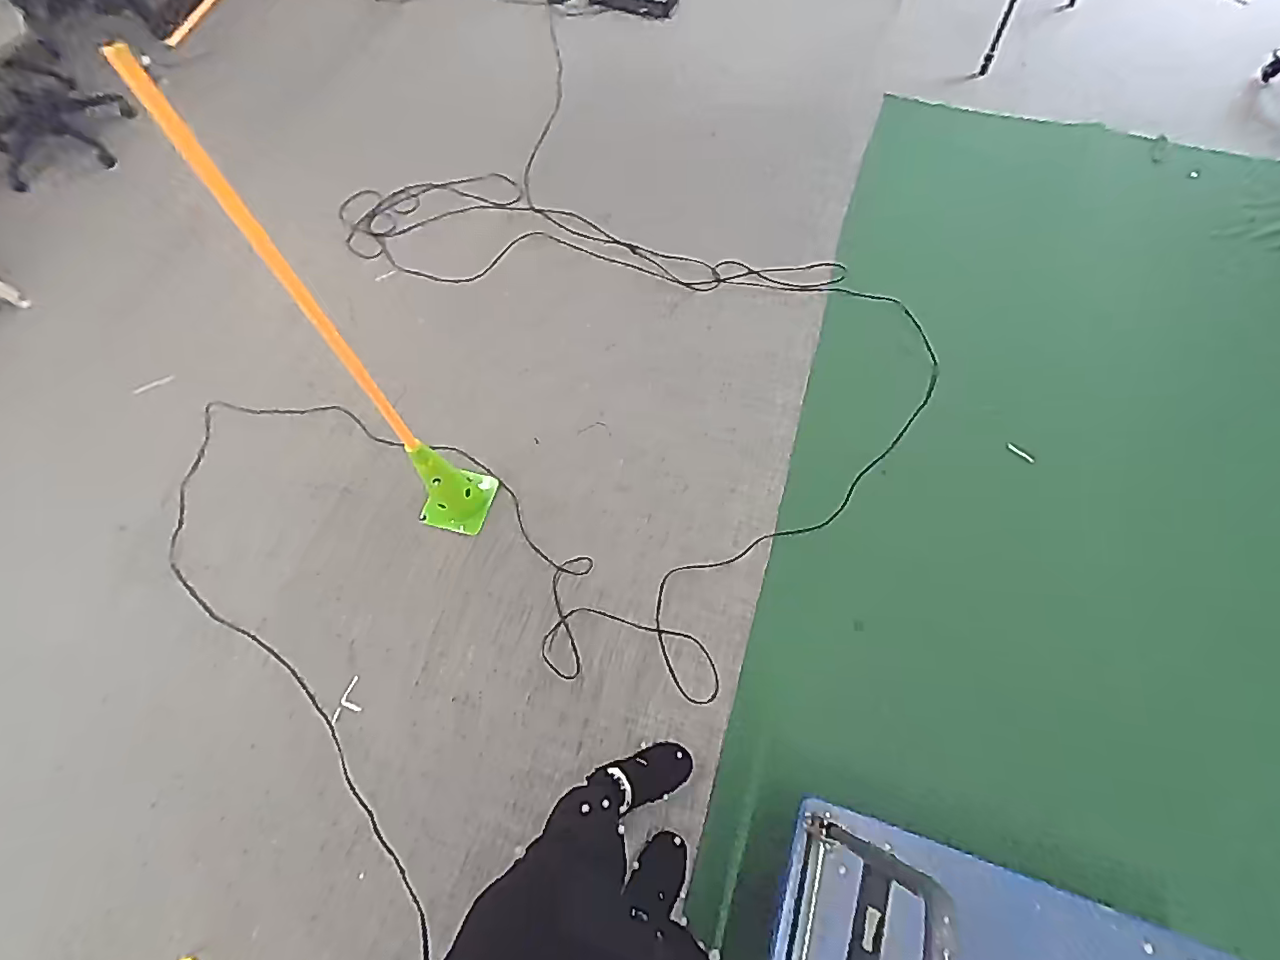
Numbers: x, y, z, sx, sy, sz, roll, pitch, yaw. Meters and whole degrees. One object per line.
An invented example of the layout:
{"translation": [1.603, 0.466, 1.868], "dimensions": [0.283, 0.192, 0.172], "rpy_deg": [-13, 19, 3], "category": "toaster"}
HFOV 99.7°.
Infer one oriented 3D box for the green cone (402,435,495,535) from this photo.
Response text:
{"translation": [-0.578, -0.012, 1.533], "dimensions": [0.200, 0.368, 0.202], "rpy_deg": [12, 64, 8], "category": "green cone"}
